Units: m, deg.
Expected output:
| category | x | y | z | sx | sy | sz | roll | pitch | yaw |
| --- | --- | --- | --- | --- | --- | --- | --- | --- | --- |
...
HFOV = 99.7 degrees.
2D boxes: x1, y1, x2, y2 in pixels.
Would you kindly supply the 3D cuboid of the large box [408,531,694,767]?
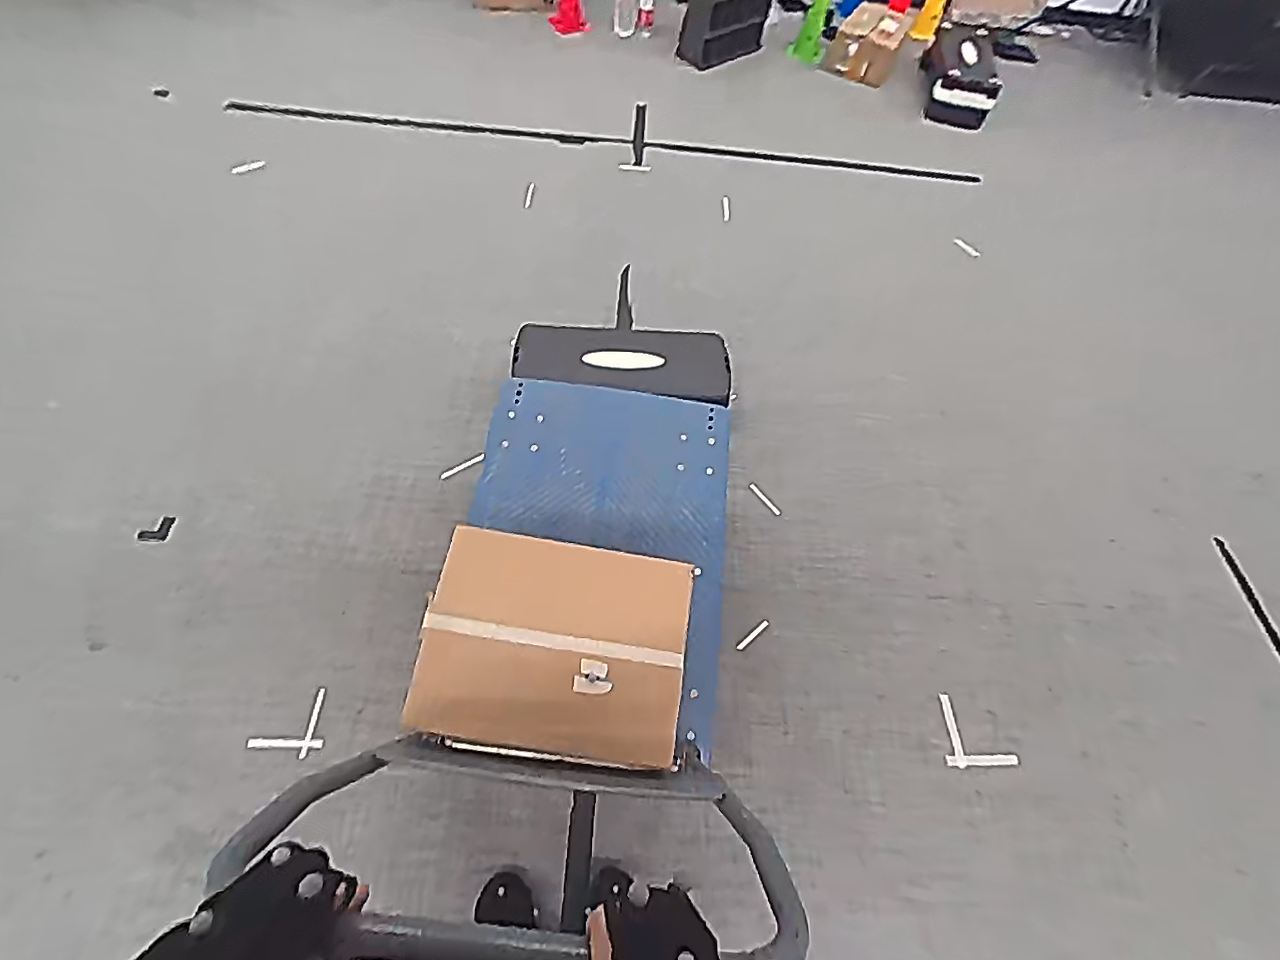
| category | x | y | z | sx | sy | sz | roll | pitch | yaw |
| --- | --- | --- | --- | --- | --- | --- | --- | --- | --- |
| large box | -0.140 | 0.309 | 0.984 | 0.408 | 0.320 | 0.320 | 10 | 68 | -2 |
